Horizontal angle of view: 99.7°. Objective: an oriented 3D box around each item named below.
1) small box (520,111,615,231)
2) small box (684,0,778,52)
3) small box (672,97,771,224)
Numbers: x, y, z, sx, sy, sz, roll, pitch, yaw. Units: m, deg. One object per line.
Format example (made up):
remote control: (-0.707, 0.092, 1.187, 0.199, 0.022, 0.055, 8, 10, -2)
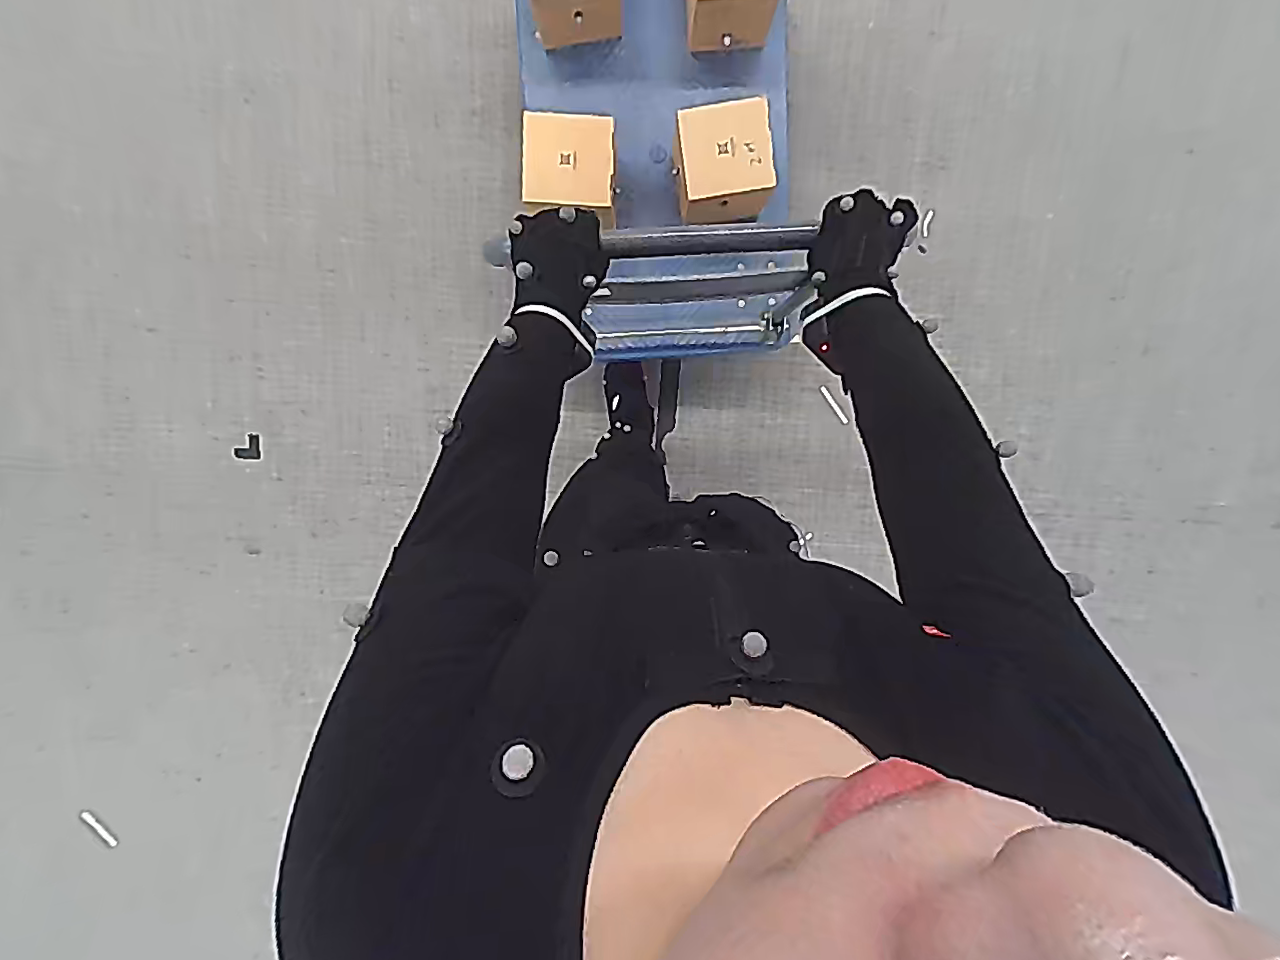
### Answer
small box: (-0.145, -0.633, 1.127, 0.179, 0.176, 0.168, 2, 98, -2)
small box: (0.176, -0.999, 1.074, 0.168, 0.176, 0.179, -3, 99, 0)
small box: (0.162, -0.651, 1.124, 0.179, 0.176, 0.168, -8, 98, 1)
